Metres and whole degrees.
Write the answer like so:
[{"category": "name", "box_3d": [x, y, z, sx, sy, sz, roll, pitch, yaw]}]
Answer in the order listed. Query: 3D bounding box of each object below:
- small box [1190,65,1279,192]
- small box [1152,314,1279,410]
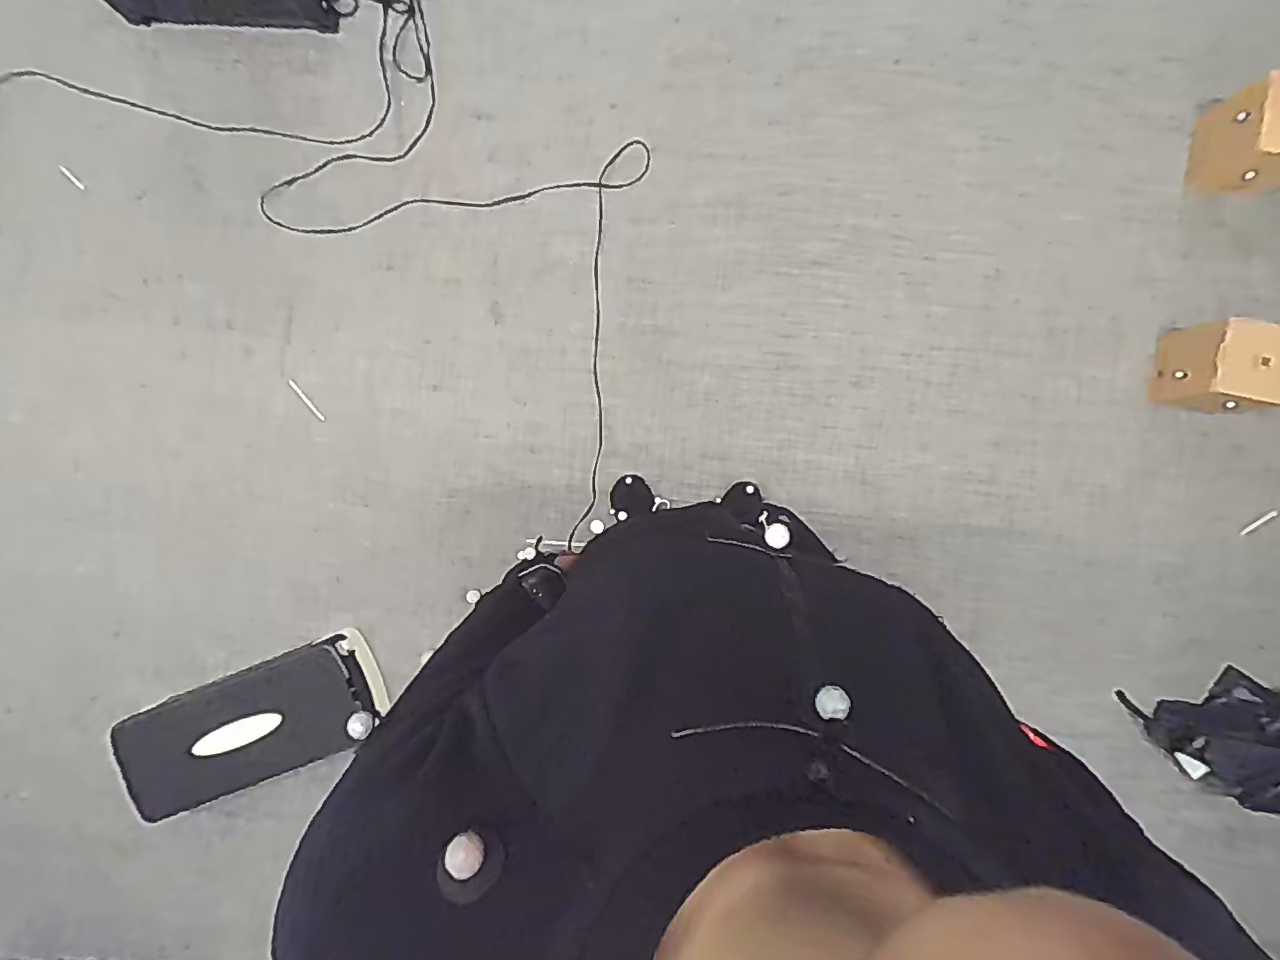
[{"category": "small box", "box_3d": [1.402, -0.777, 1.212, 0.168, 0.176, 0.179, 8, 91, 3]}, {"category": "small box", "box_3d": [1.329, -0.259, 1.224, 0.179, 0.176, 0.168, 12, 93, 2]}]
